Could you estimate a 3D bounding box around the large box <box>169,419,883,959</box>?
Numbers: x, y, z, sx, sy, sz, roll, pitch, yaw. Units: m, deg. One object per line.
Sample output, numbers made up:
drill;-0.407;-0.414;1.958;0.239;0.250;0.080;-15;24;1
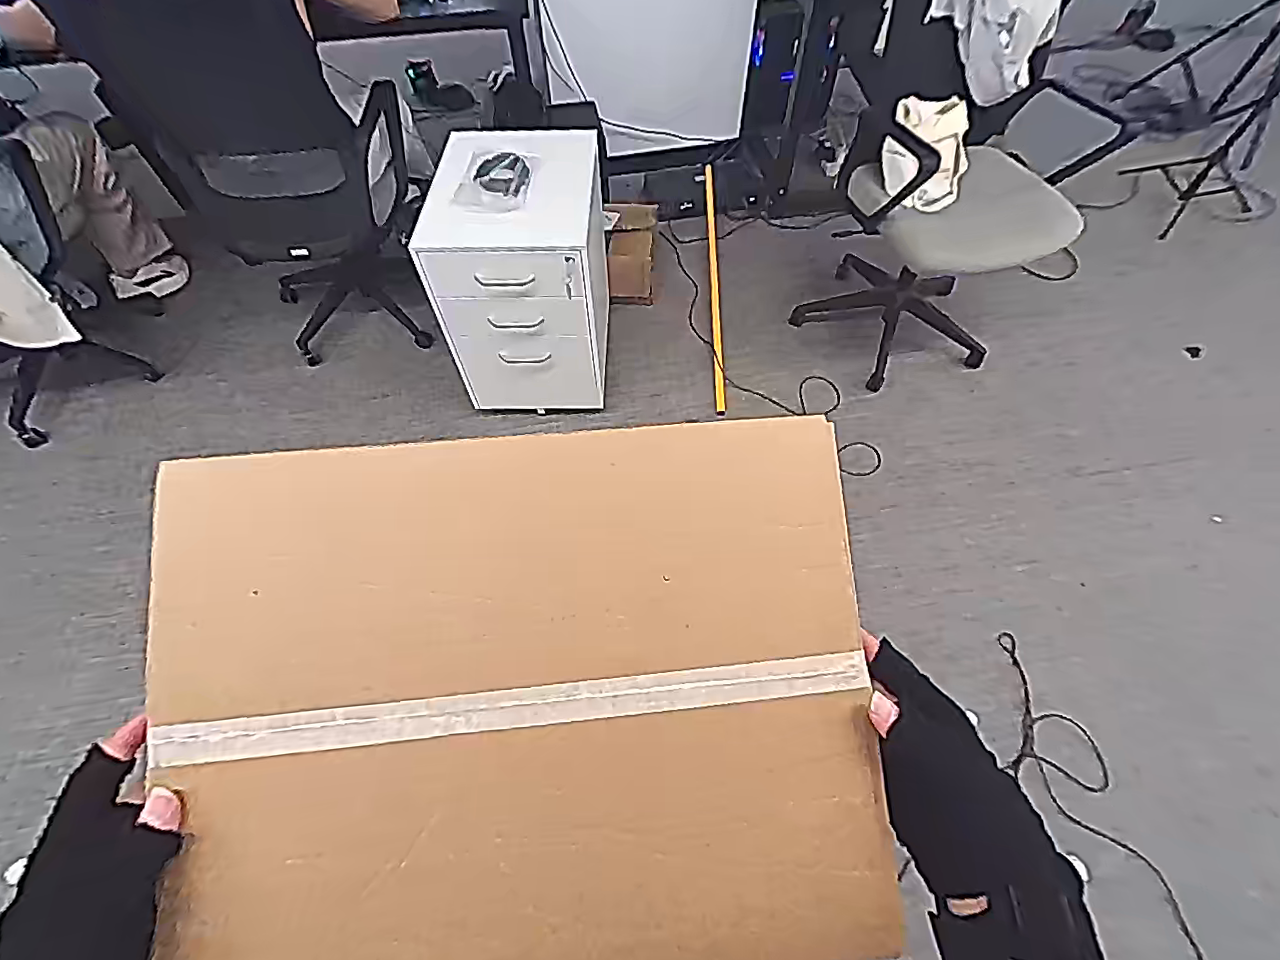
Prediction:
large box;-0.075;0.149;0.470;0.408;0.320;0.320;-5;81;-4
